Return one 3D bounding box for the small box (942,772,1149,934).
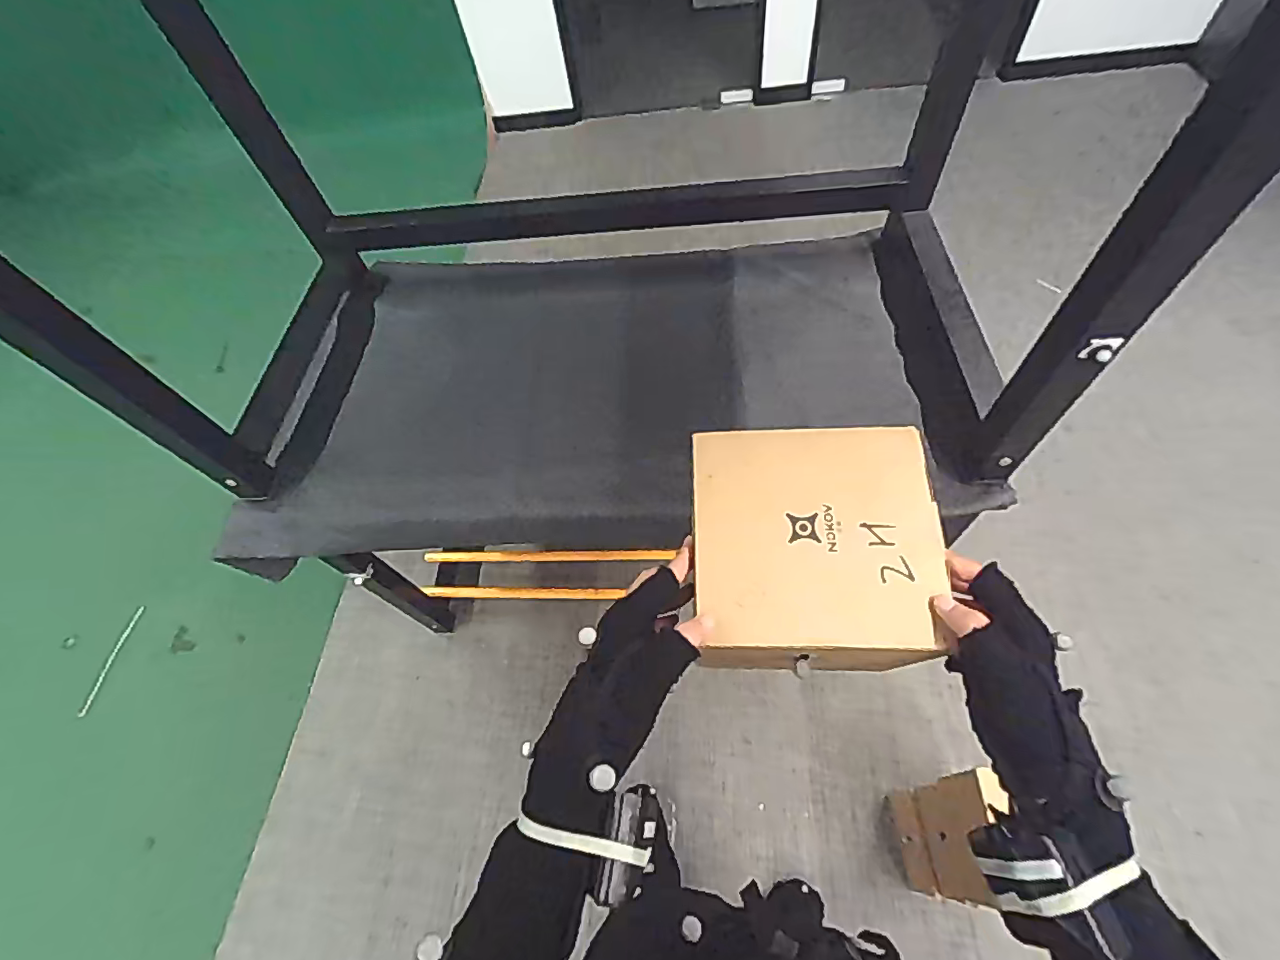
[{"bbox_3d":[0.576,0.544,0.804,0.168,0.176,0.179,-2,58,8],"label":"small box"}]

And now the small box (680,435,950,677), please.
[{"bbox_3d":[0.125,0.074,0.460,0.179,0.176,0.168,0,66,5],"label":"small box"}]

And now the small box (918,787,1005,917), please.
[{"bbox_3d":[0.609,0.635,0.935,0.168,0.176,0.179,-4,56,6],"label":"small box"}]
